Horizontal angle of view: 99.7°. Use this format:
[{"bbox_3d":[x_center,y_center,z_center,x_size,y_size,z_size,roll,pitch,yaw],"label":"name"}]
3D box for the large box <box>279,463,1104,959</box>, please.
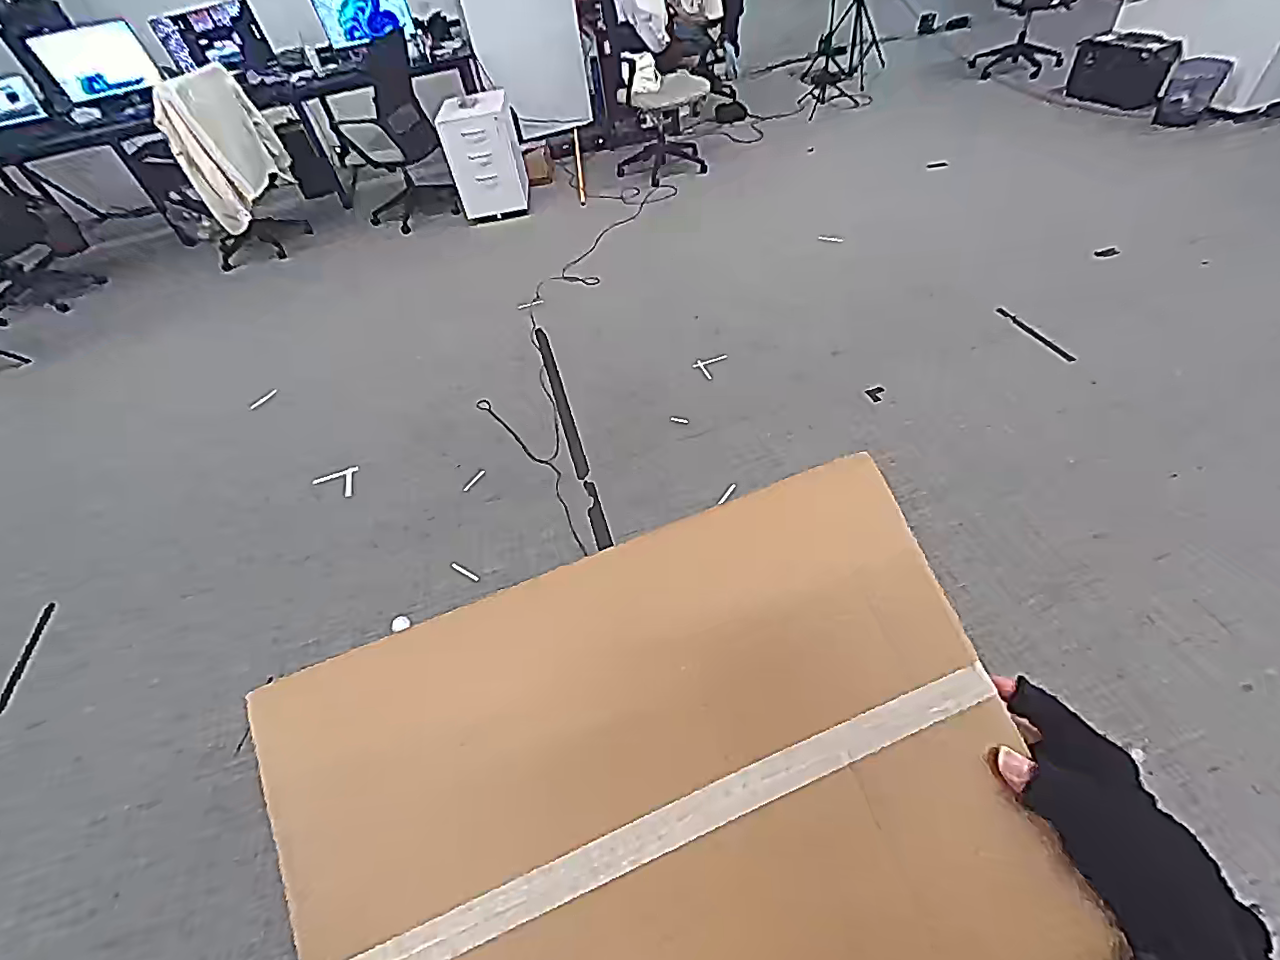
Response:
[{"bbox_3d":[0.018,0.235,0.455,0.408,0.320,0.320,-21,78,-7],"label":"large box"}]
